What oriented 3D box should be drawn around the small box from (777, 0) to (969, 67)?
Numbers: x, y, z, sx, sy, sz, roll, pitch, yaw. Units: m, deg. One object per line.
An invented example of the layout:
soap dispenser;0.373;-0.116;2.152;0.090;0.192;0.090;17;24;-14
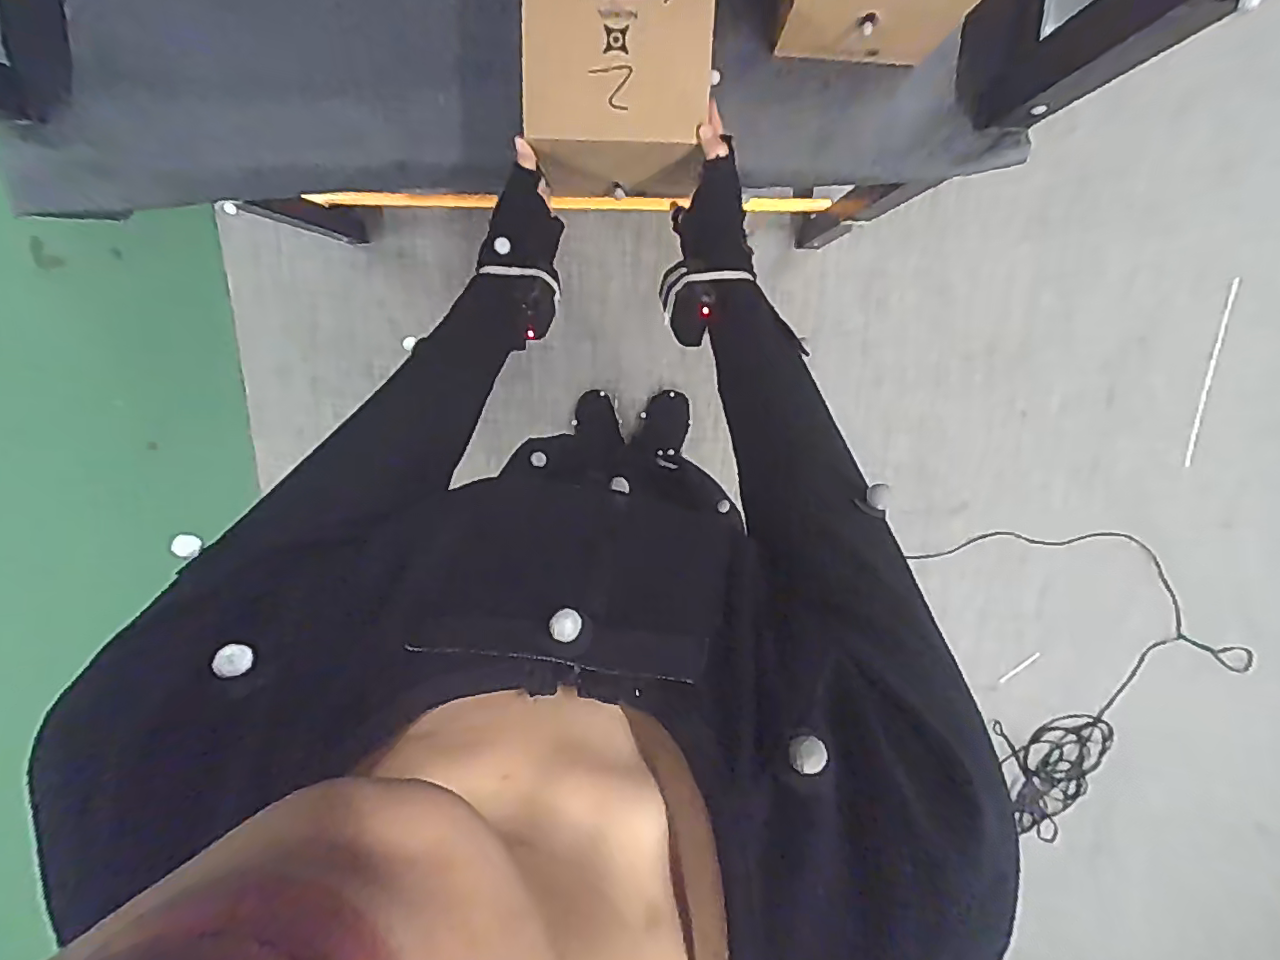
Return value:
small box;0.234;-0.529;0.508;0.168;0.176;0.179;5;104;0
